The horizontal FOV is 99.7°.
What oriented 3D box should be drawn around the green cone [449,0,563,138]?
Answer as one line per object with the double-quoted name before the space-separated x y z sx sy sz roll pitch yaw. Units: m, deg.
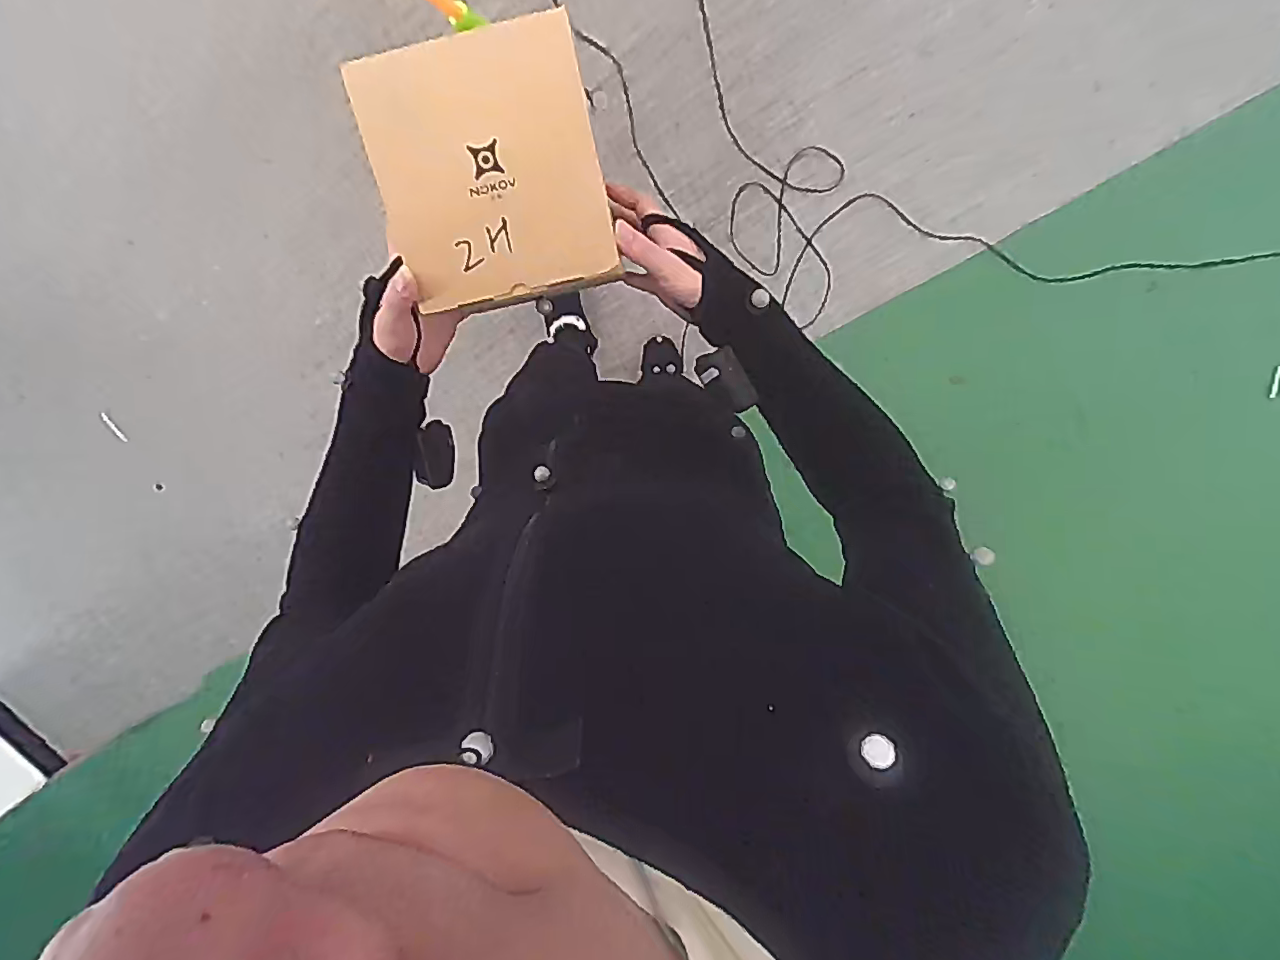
"green cone" -0.330 -0.941 1.186 0.202 0.368 0.200 -27 105 13
